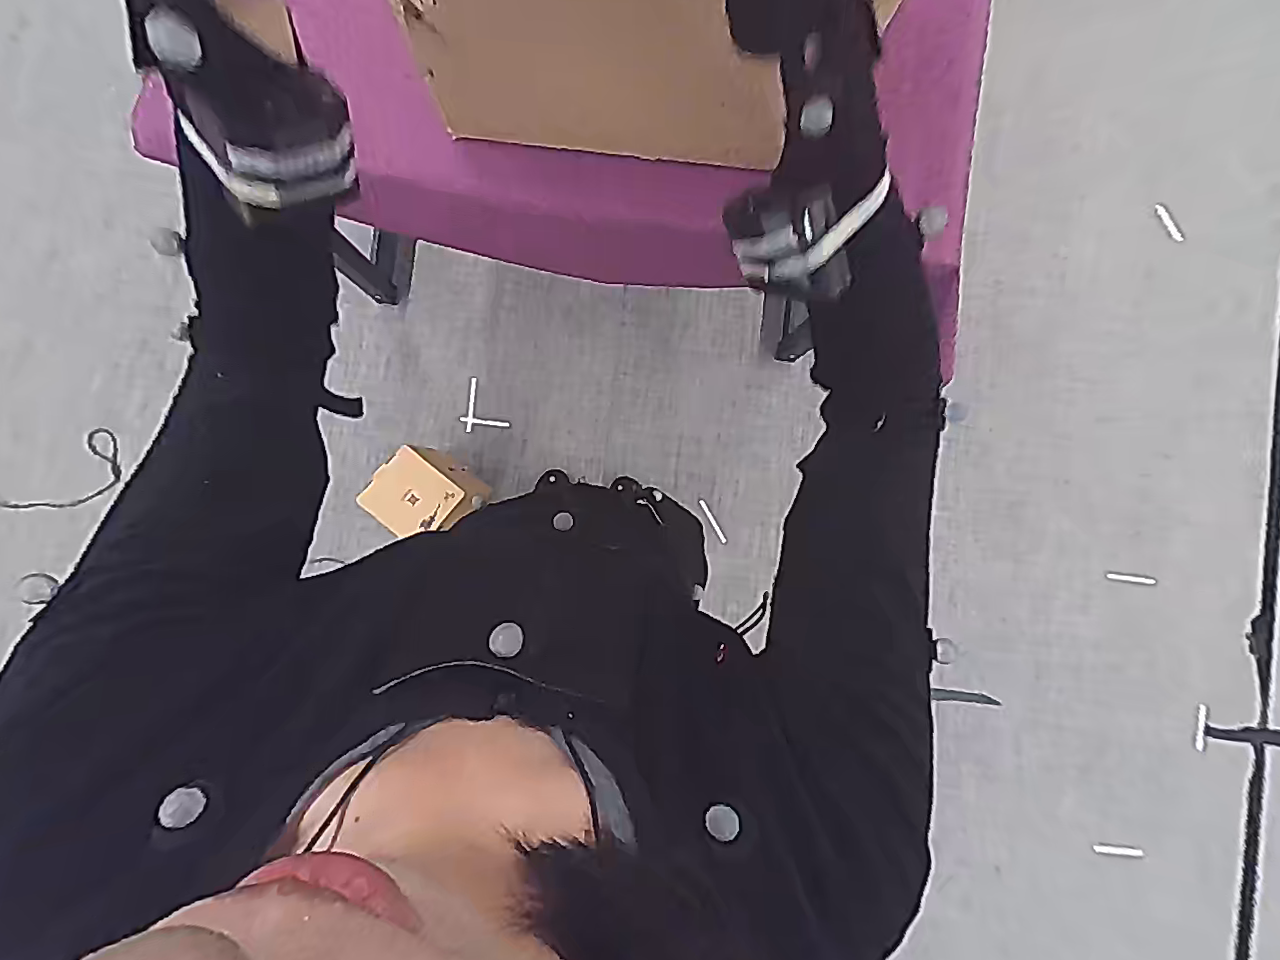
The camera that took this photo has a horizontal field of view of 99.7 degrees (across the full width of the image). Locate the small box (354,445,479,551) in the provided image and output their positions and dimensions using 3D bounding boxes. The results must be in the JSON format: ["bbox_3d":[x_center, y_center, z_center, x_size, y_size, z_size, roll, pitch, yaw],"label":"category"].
[{"bbox_3d":[-0.502,0.042,1.243,0.179,0.176,0.168,40,87,-2],"label":"small box"}]

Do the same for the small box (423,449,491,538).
[{"bbox_3d":[-0.516,0.042,1.406,0.179,0.176,0.168,38,87,-3],"label":"small box"}]
